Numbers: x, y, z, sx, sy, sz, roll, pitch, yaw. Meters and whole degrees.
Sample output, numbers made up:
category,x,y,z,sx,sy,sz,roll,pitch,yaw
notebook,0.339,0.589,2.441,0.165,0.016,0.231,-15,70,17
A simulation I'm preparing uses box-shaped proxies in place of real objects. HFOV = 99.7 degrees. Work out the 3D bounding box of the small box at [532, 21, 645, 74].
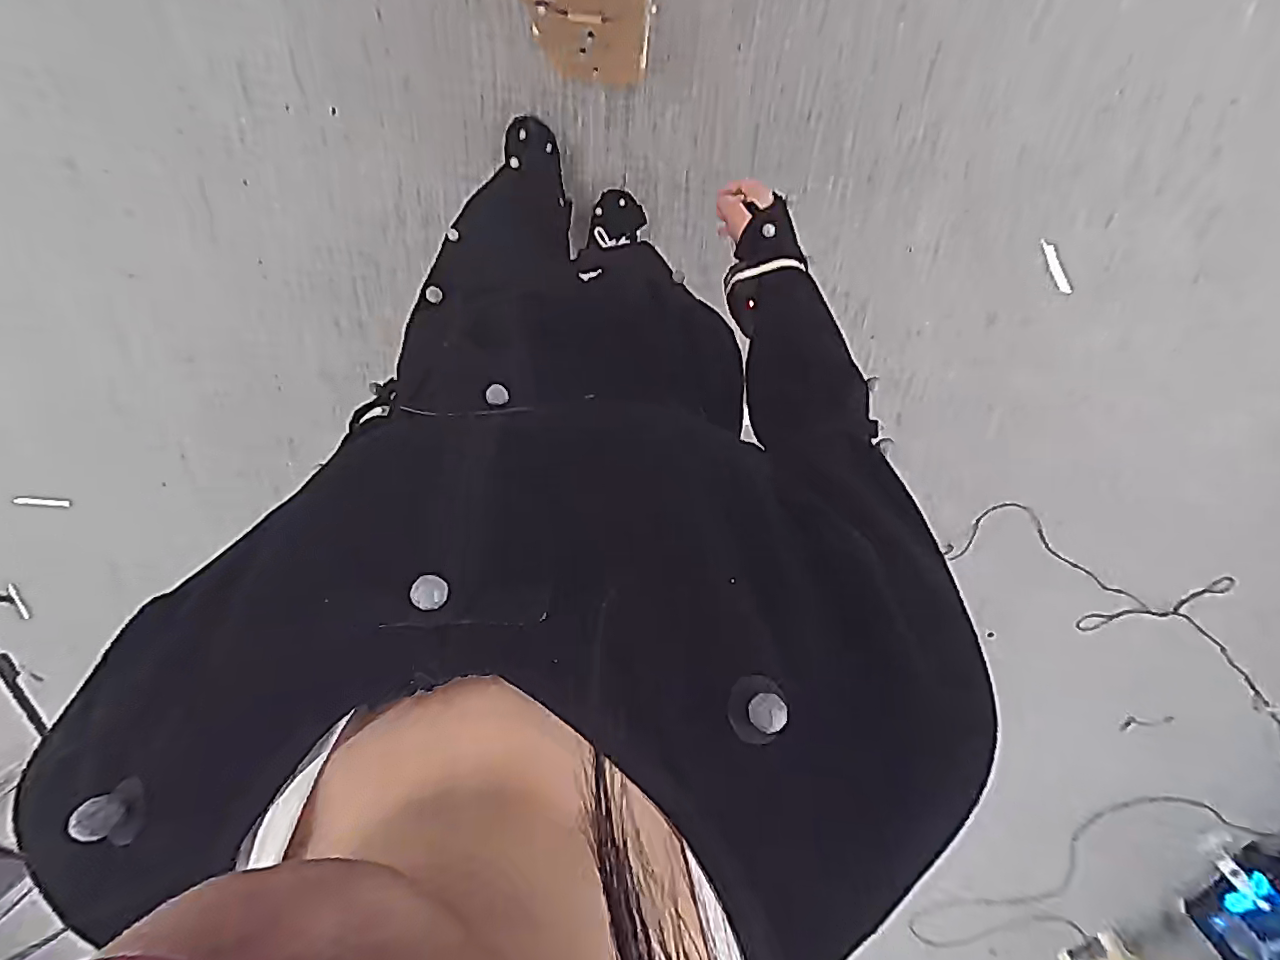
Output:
category,x,y,z,sx,sy,sz,roll,pitch,yaw
small box,-0.073,-0.793,0.890,0.179,0.176,0.168,7,118,-4

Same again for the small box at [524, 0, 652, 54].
category,x,y,z,sx,sy,sz,roll,pitch,yaw
small box,-0.061,-0.719,0.745,0.168,0.176,0.179,6,118,-4

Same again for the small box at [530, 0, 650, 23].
category,x,y,z,sx,sy,sz,roll,pitch,yaw
small box,-0.061,-0.644,0.598,0.168,0.176,0.179,5,117,-3

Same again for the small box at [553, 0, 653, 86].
category,x,y,z,sx,sy,sz,roll,pitch,yaw
small box,-0.068,-0.872,1.035,0.179,0.176,0.168,4,118,-3
